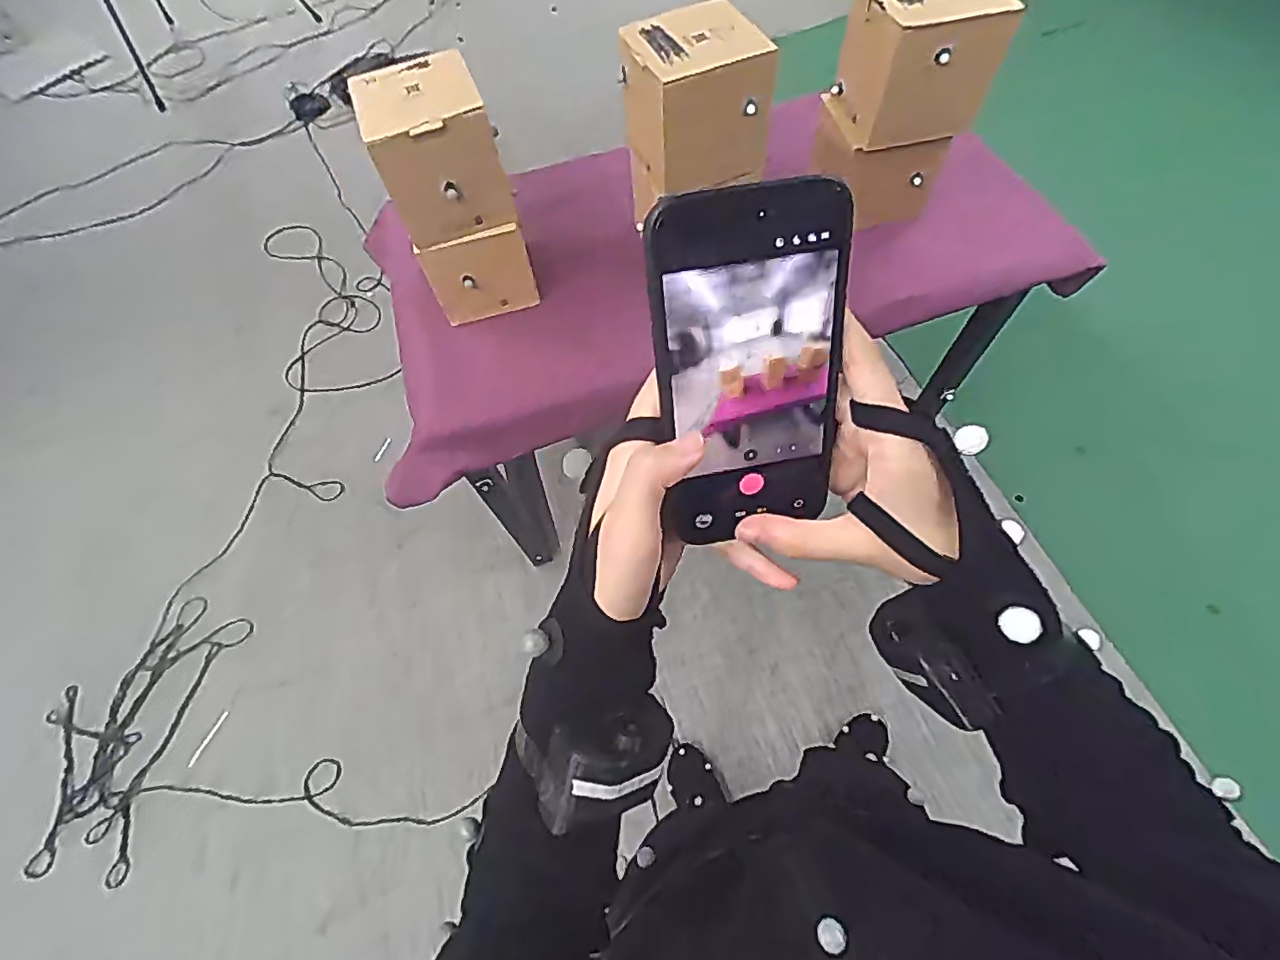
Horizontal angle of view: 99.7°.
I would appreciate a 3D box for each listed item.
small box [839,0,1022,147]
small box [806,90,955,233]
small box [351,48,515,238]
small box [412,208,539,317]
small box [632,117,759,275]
[{"bbox_3d":[0.424,-0.646,0.832,0.179,0.176,0.168,-11,63,-1],"label":"small box"},{"bbox_3d":[0.423,-0.584,0.984,0.179,0.176,0.168,-11,62,-1],"label":"small box"},{"bbox_3d":[-0.301,-0.492,0.812,0.168,0.176,0.179,-20,64,-6],"label":"small box"},{"bbox_3d":[-0.287,-0.411,0.954,0.168,0.176,0.179,-16,63,-3],"label":"small box"},{"bbox_3d":[0.093,-0.502,0.968,0.179,0.176,0.168,-16,63,-4],"label":"small box"}]
